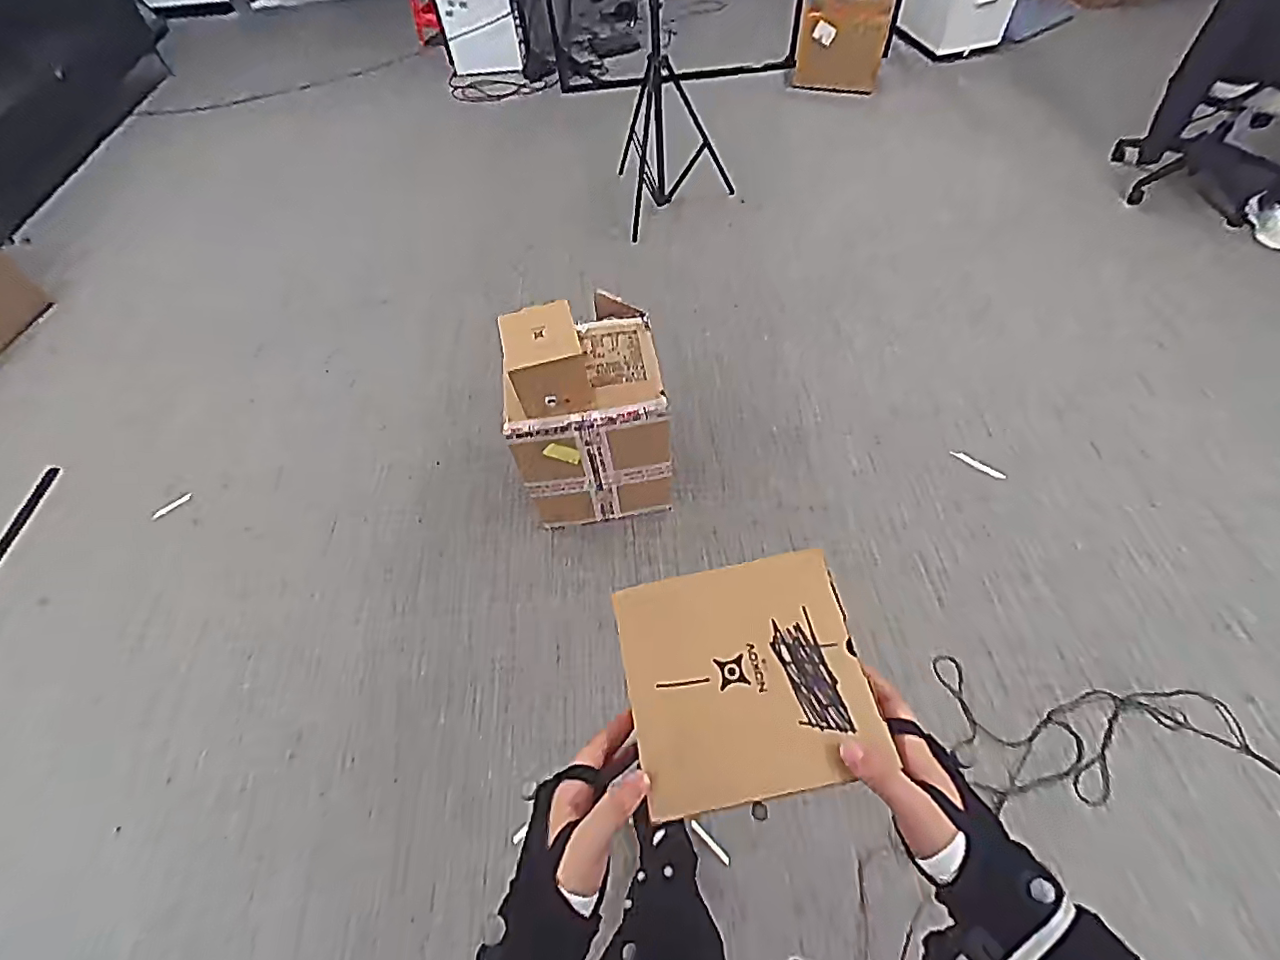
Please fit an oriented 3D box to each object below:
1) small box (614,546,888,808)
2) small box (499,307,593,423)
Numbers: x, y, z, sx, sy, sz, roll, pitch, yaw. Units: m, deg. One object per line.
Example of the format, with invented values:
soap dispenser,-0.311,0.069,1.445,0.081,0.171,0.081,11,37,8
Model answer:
small box,0.082,0.177,0.479,0.179,0.176,0.168,-12,60,0
small box,-0.214,-0.262,1.249,0.168,0.176,0.179,-16,61,-4
